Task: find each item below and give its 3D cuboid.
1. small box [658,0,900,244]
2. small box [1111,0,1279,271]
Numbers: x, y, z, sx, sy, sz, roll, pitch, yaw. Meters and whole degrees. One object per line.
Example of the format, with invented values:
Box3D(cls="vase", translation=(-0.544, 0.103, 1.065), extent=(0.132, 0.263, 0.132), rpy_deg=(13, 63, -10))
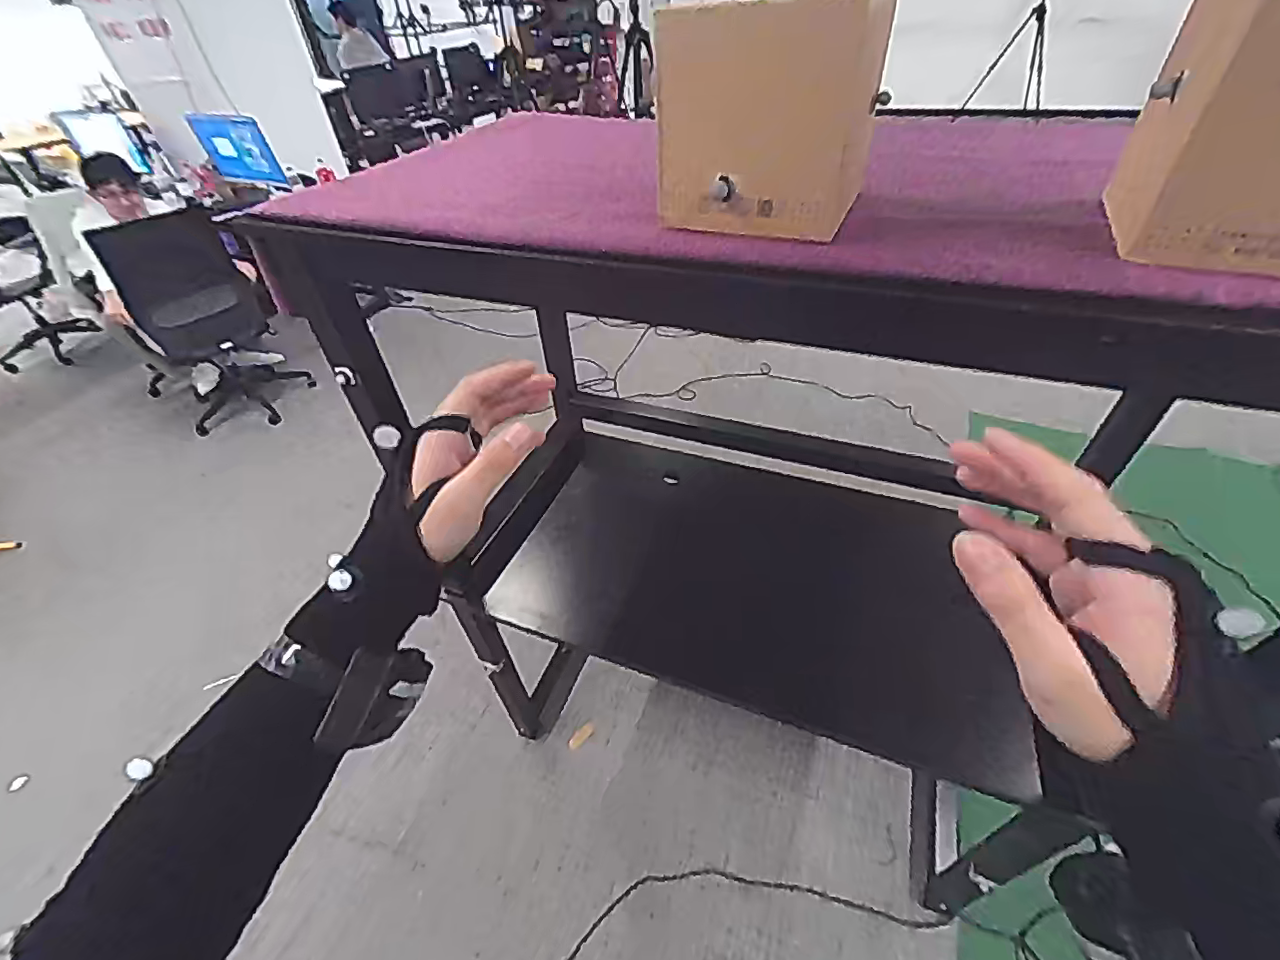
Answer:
Box3D(cls="small box", translation=(0.125, -0.339, 0.502), extent=(0.168, 0.176, 0.179), rpy_deg=(15, 45, 21))
Box3D(cls="small box", translation=(0.478, -0.260, 0.384), extent=(0.168, 0.176, 0.179), rpy_deg=(15, 46, 22))
